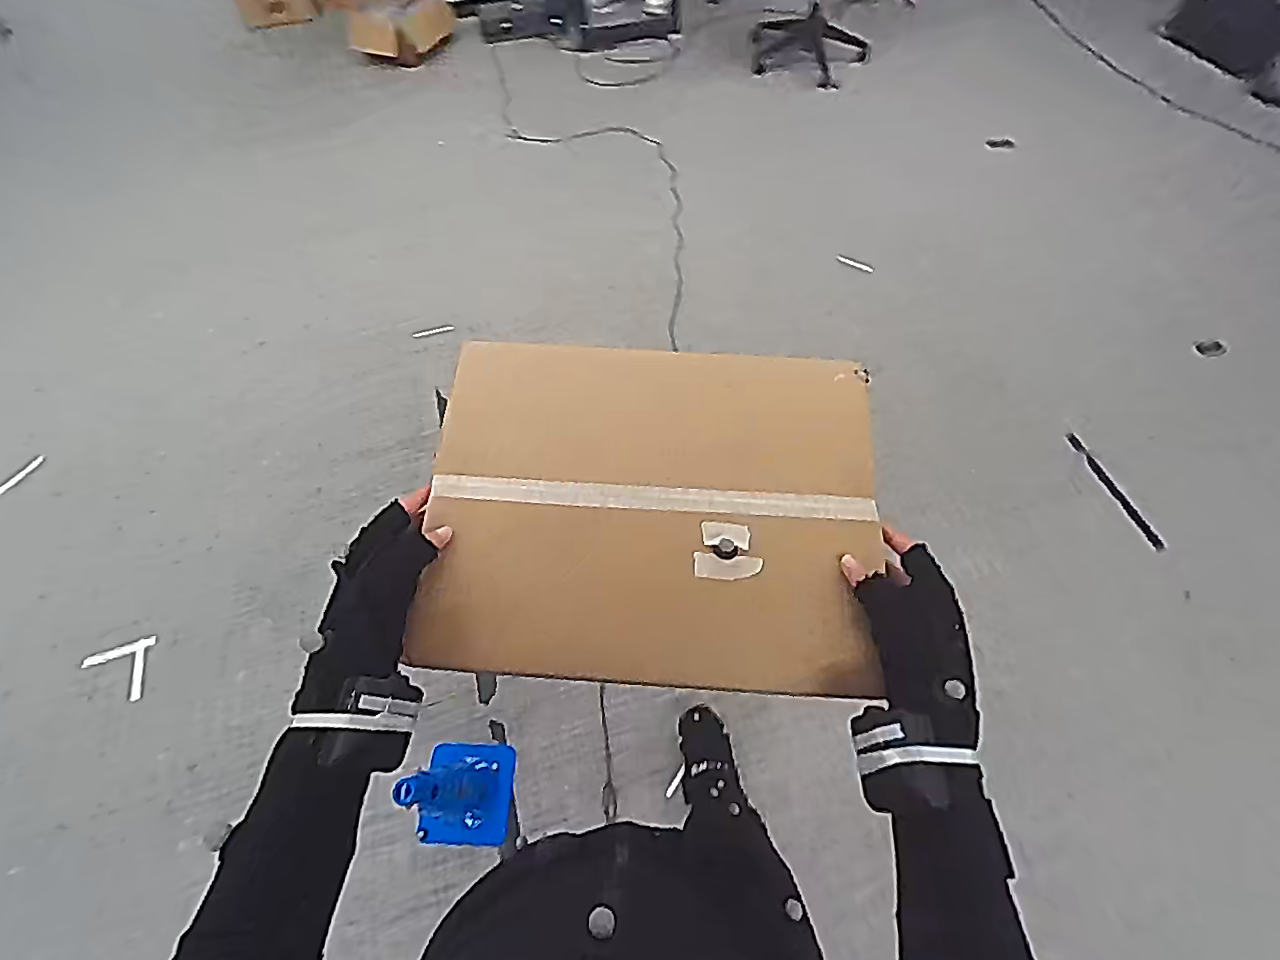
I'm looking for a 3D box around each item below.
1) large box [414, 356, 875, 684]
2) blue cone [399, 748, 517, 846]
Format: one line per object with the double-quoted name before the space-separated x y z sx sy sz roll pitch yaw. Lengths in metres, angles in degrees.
"large box" 0.007 0.072 0.651 0.408 0.320 0.320 3 70 1
"blue cone" -0.392 0.646 1.102 0.193 0.380 0.192 2 61 4
